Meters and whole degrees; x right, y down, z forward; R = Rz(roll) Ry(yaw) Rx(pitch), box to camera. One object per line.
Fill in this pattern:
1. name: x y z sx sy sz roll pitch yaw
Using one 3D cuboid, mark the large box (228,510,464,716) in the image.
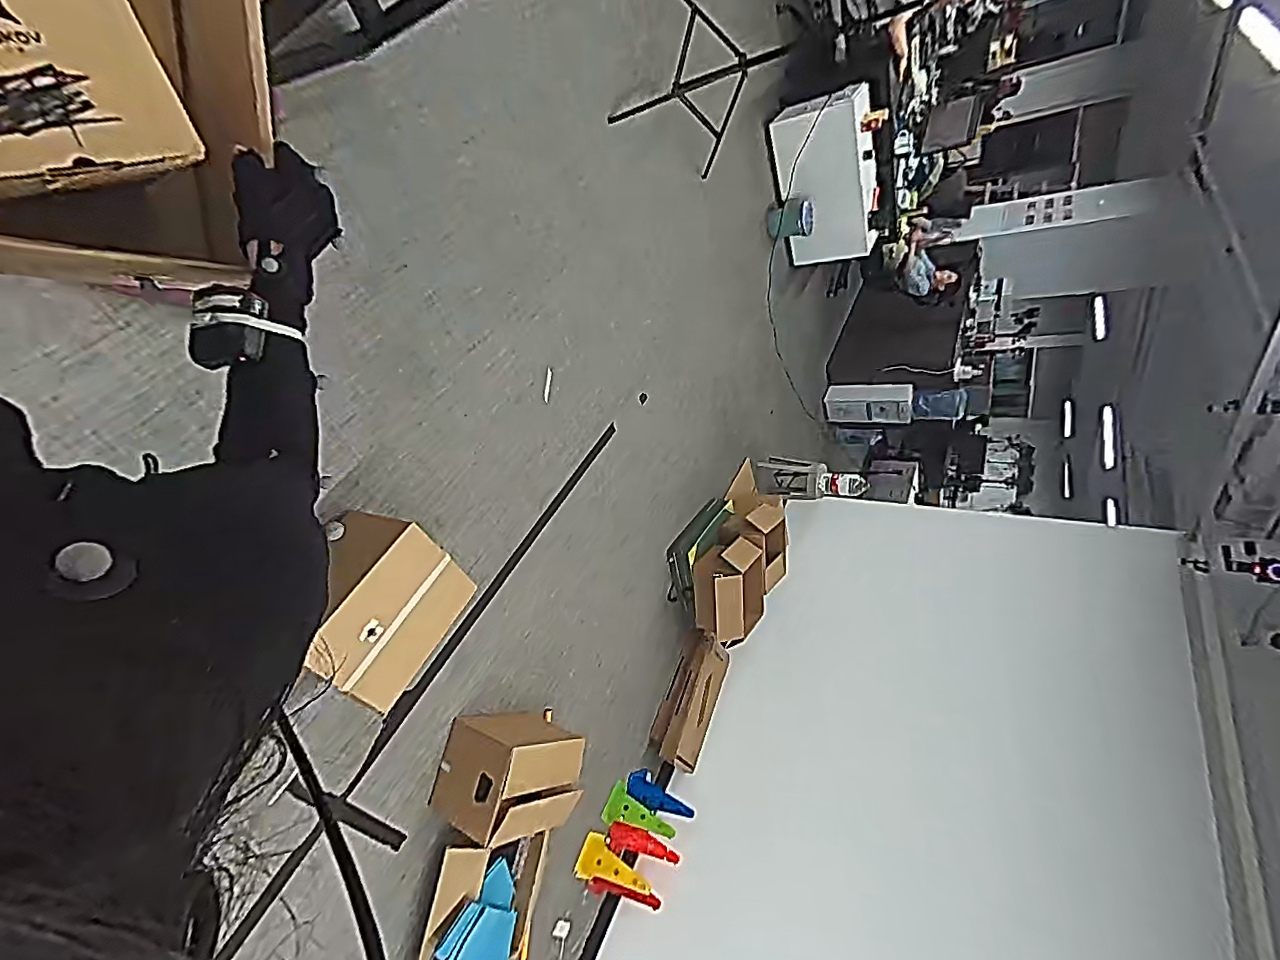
1. large box: -0.772 0.342 1.462 0.408 0.320 0.320 -59 139 -32
